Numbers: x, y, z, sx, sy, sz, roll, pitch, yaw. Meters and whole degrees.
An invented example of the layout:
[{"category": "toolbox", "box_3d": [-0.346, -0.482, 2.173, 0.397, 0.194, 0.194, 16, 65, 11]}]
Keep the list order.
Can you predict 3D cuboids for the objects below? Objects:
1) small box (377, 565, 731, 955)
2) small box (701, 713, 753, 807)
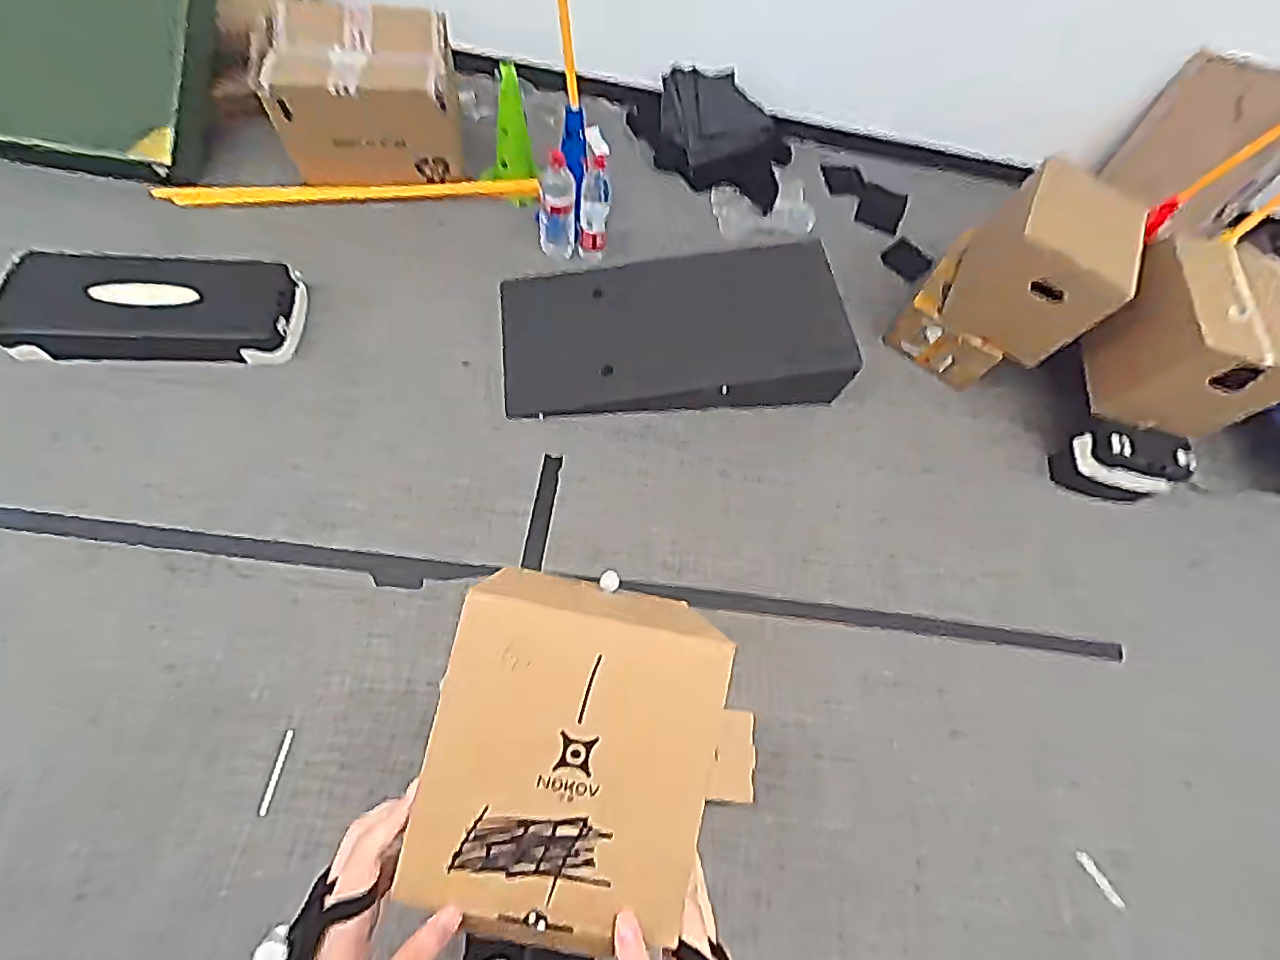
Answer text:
[{"category": "small box", "box_3d": [-0.051, 0.166, 0.379, 0.168, 0.176, 0.179, 13, 84, -5]}, {"category": "small box", "box_3d": [0.126, 0.574, 1.137, 0.179, 0.176, 0.168, 9, 65, -5]}]
